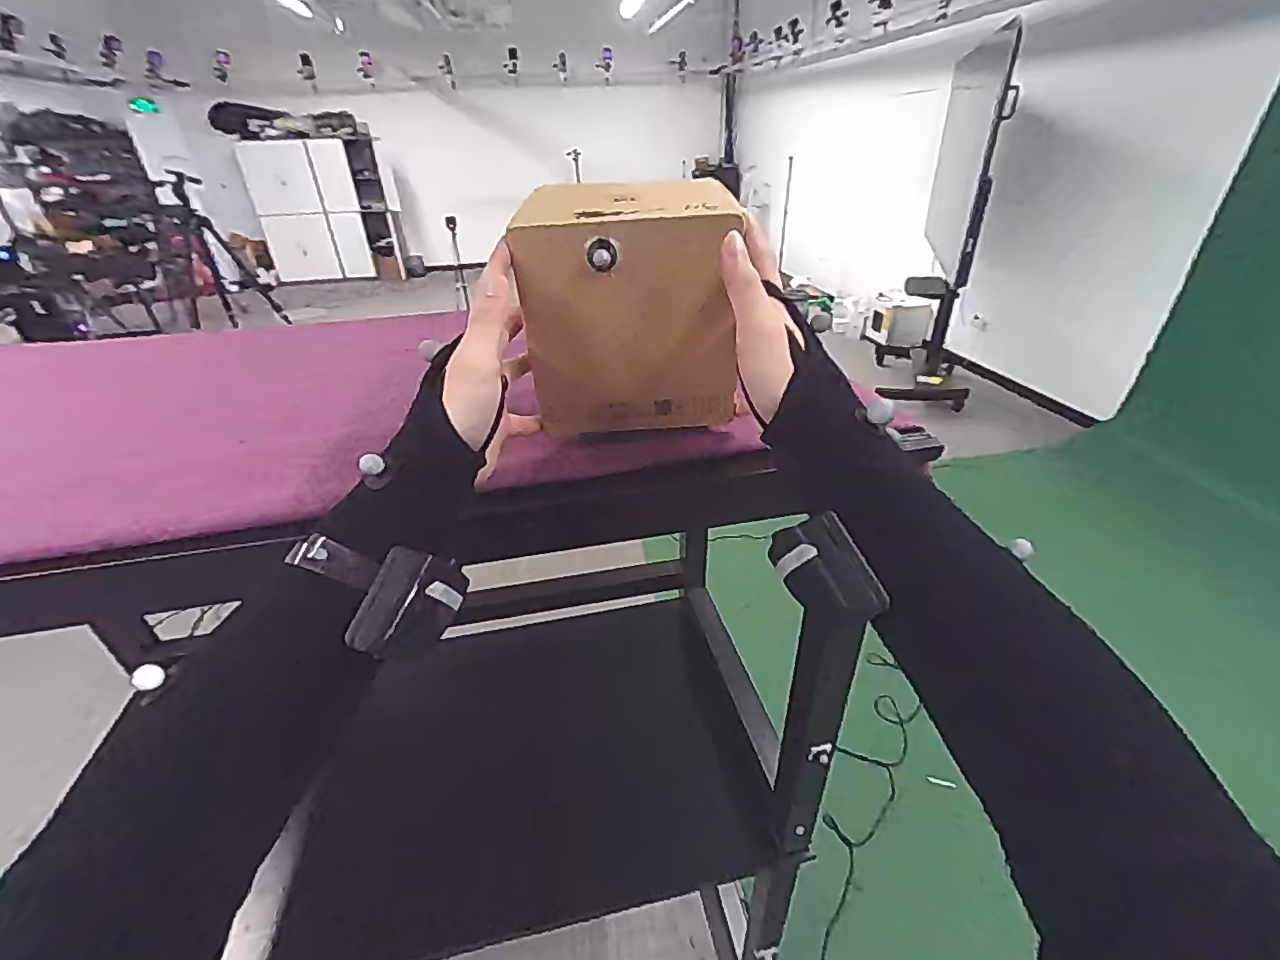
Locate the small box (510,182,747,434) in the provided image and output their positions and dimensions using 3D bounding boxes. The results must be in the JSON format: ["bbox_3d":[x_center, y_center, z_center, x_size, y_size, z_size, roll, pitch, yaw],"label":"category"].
[{"bbox_3d":[-0.005,-0.156,0.479,0.168,0.176,0.179,-4,36,2],"label":"small box"}]
